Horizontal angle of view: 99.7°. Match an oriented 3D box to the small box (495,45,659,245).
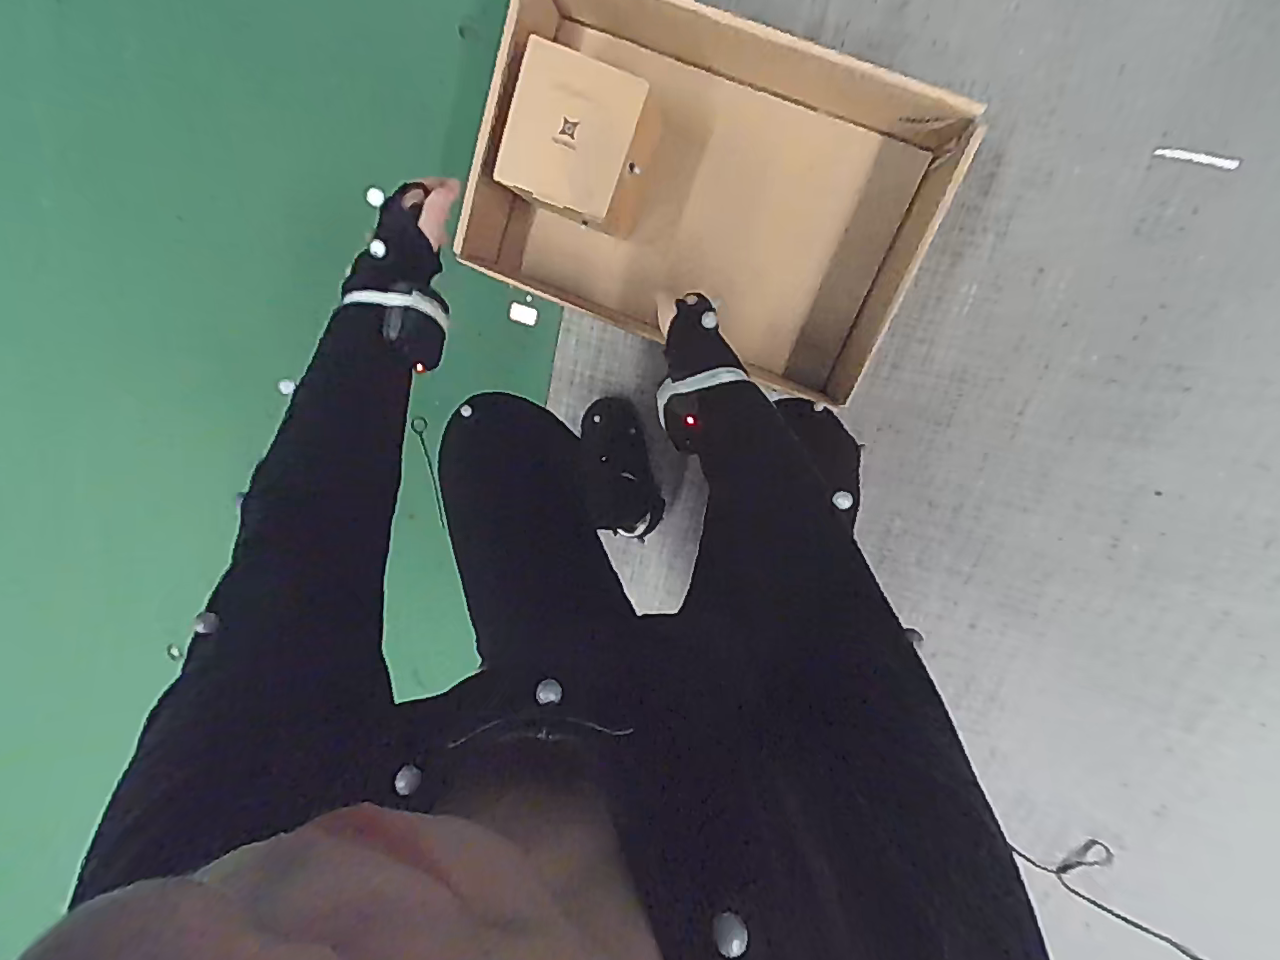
[{"bbox_3d":[-0.080,-0.459,0.777,0.168,0.176,0.179,23,107,0],"label":"small box"}]
